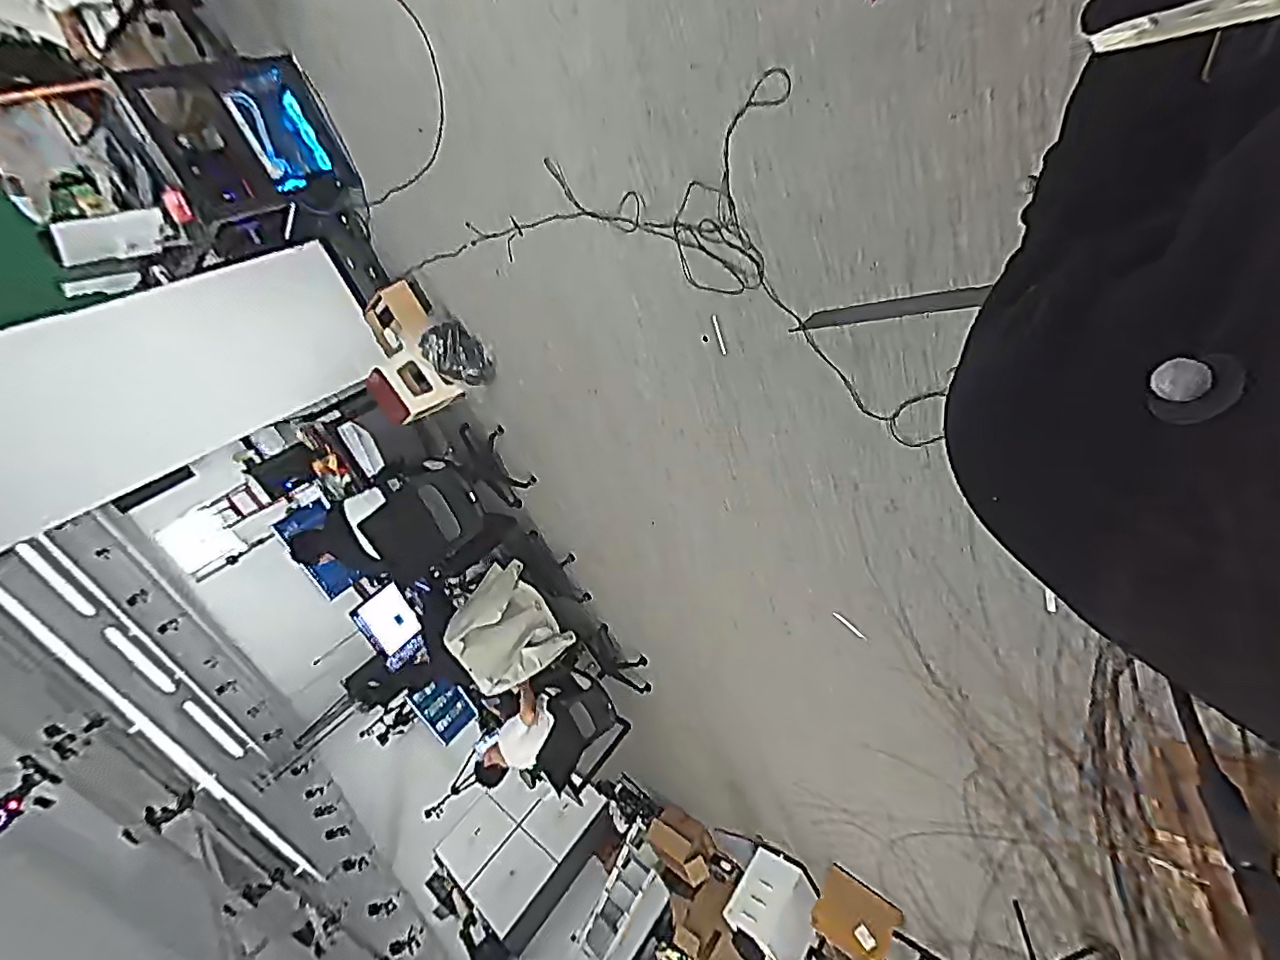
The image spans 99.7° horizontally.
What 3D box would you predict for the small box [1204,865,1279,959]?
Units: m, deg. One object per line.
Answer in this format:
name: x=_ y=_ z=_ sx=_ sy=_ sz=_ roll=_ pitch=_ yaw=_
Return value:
small box: x=1.532 y=1.111 z=1.337 sx=0.179 sy=0.176 sz=0.168 roll=5 pitch=126 yaw=47
